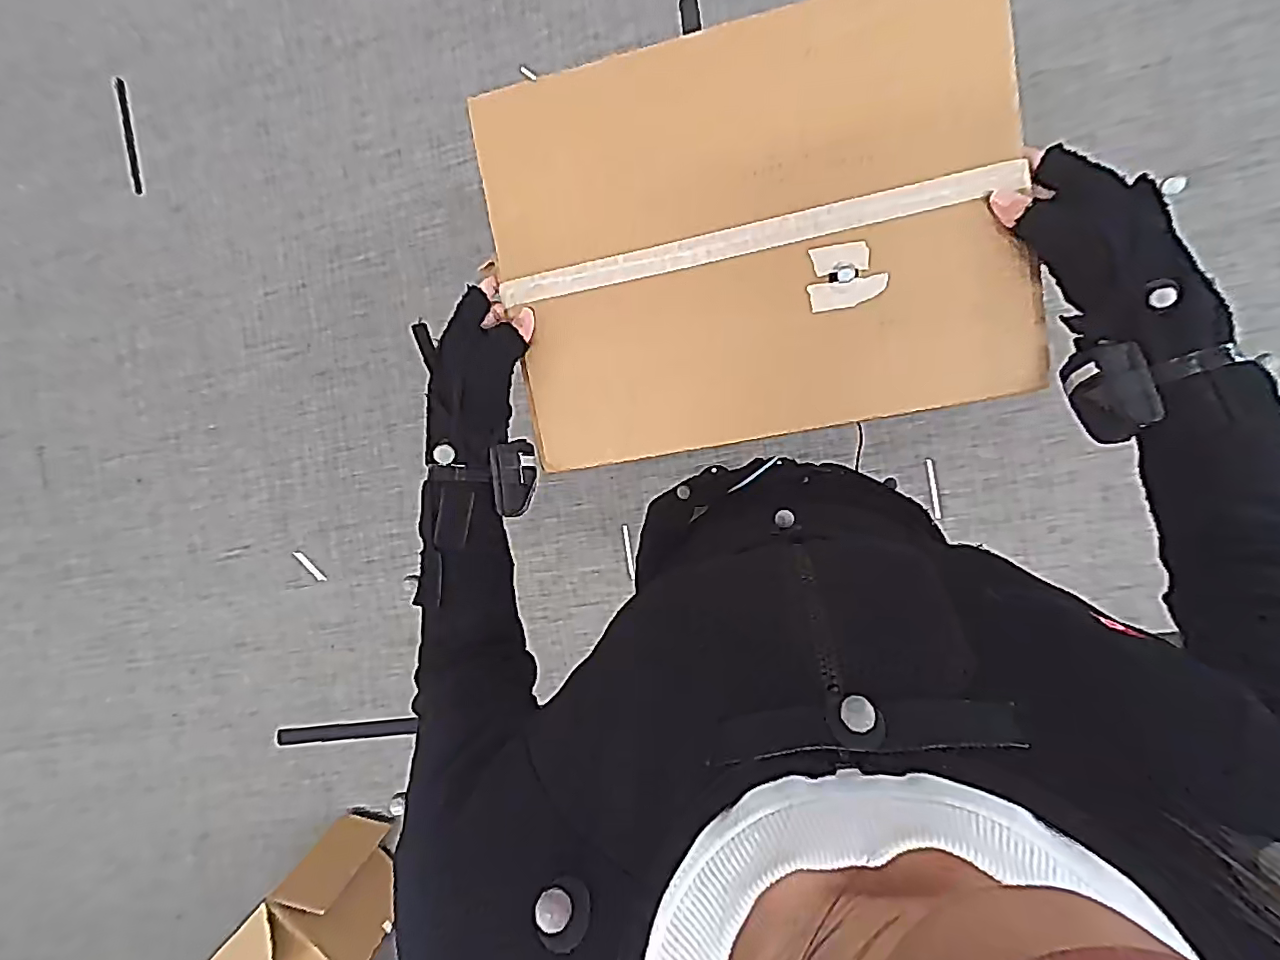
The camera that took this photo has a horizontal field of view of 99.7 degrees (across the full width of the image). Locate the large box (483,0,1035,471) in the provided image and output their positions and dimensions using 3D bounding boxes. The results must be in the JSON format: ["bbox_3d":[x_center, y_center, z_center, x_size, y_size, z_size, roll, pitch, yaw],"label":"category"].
[{"bbox_3d":[0.106,-0.209,0.584,0.408,0.320,0.320,-10,96,8],"label":"large box"}]
